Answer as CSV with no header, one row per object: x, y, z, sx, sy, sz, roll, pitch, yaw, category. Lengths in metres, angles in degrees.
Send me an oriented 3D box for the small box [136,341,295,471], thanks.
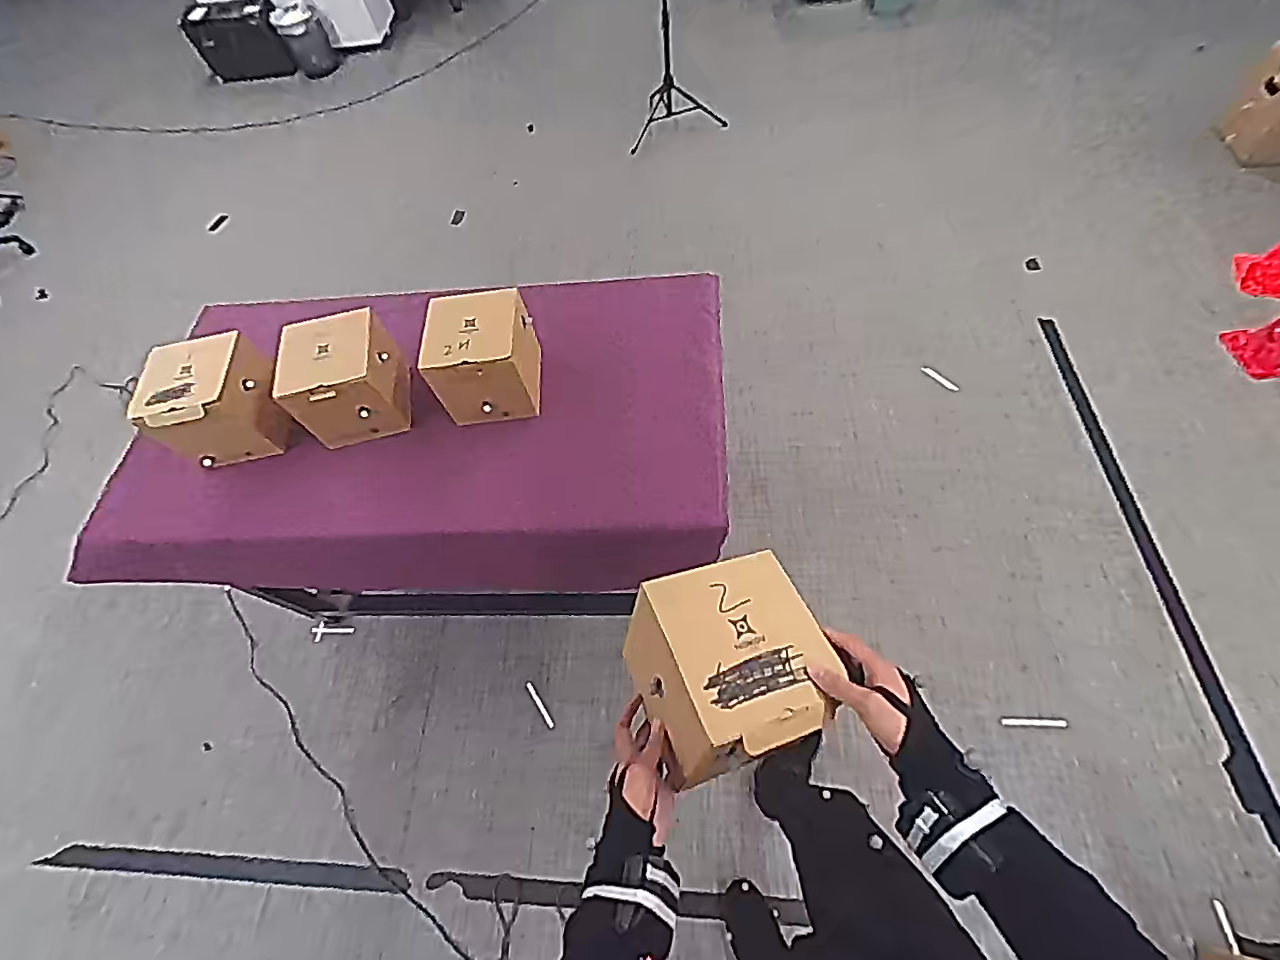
-0.799,-0.133,1.044,0.168,0.176,0.179,-12,60,0,small box

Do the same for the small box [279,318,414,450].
-0.551,-0.175,1.040,0.168,0.176,0.179,-13,60,-1,small box

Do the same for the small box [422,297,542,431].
-0.289,-0.217,1.028,0.168,0.176,0.179,-7,61,4,small box
